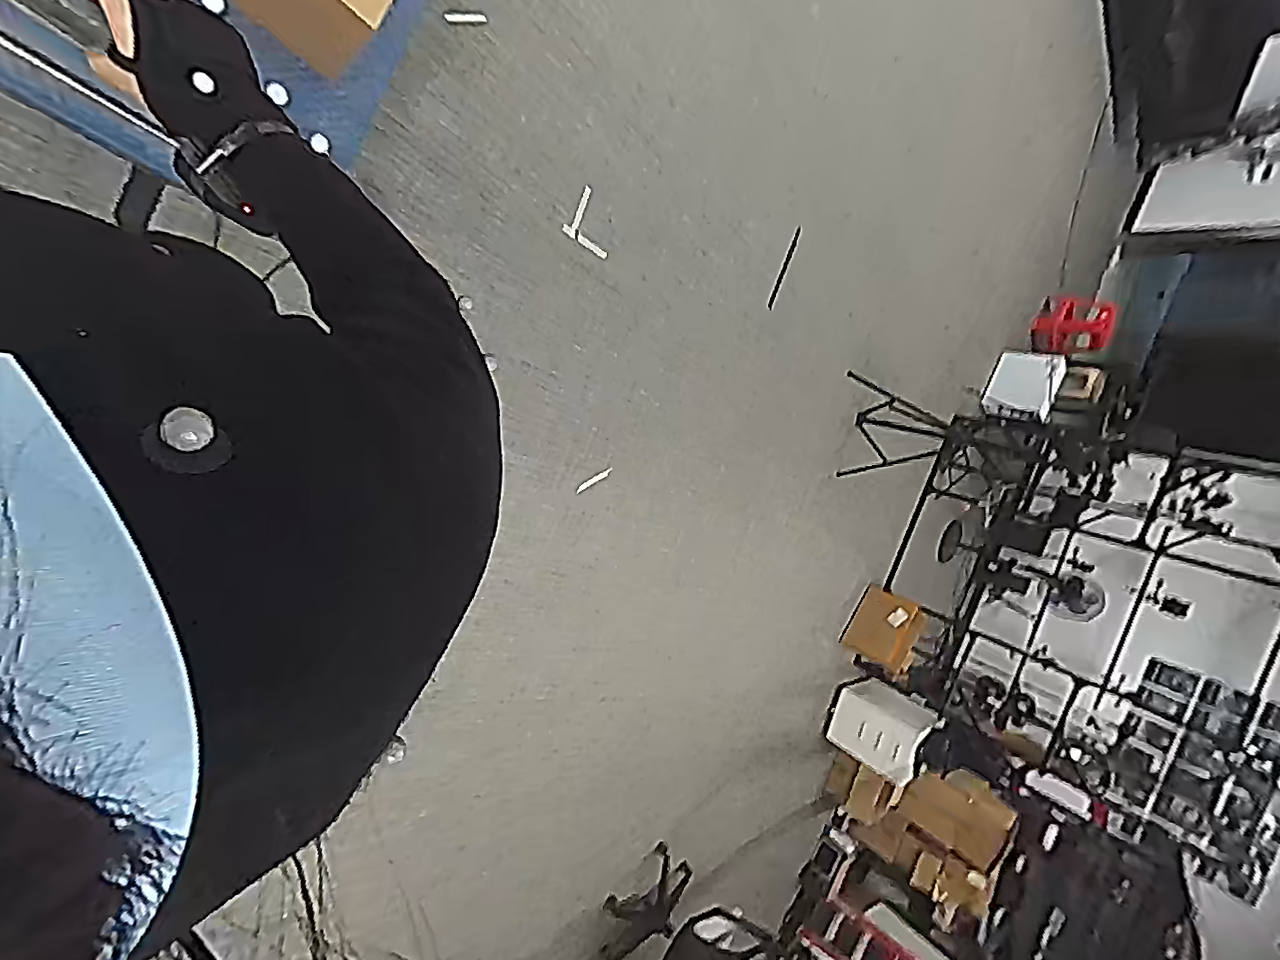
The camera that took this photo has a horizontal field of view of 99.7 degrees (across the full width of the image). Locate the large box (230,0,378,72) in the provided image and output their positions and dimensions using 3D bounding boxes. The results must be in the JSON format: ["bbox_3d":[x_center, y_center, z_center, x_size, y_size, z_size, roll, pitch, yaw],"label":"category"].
[{"bbox_3d":[-0.580,-0.933,0.798,0.408,0.320,0.320,26,87,-44],"label":"large box"}]
